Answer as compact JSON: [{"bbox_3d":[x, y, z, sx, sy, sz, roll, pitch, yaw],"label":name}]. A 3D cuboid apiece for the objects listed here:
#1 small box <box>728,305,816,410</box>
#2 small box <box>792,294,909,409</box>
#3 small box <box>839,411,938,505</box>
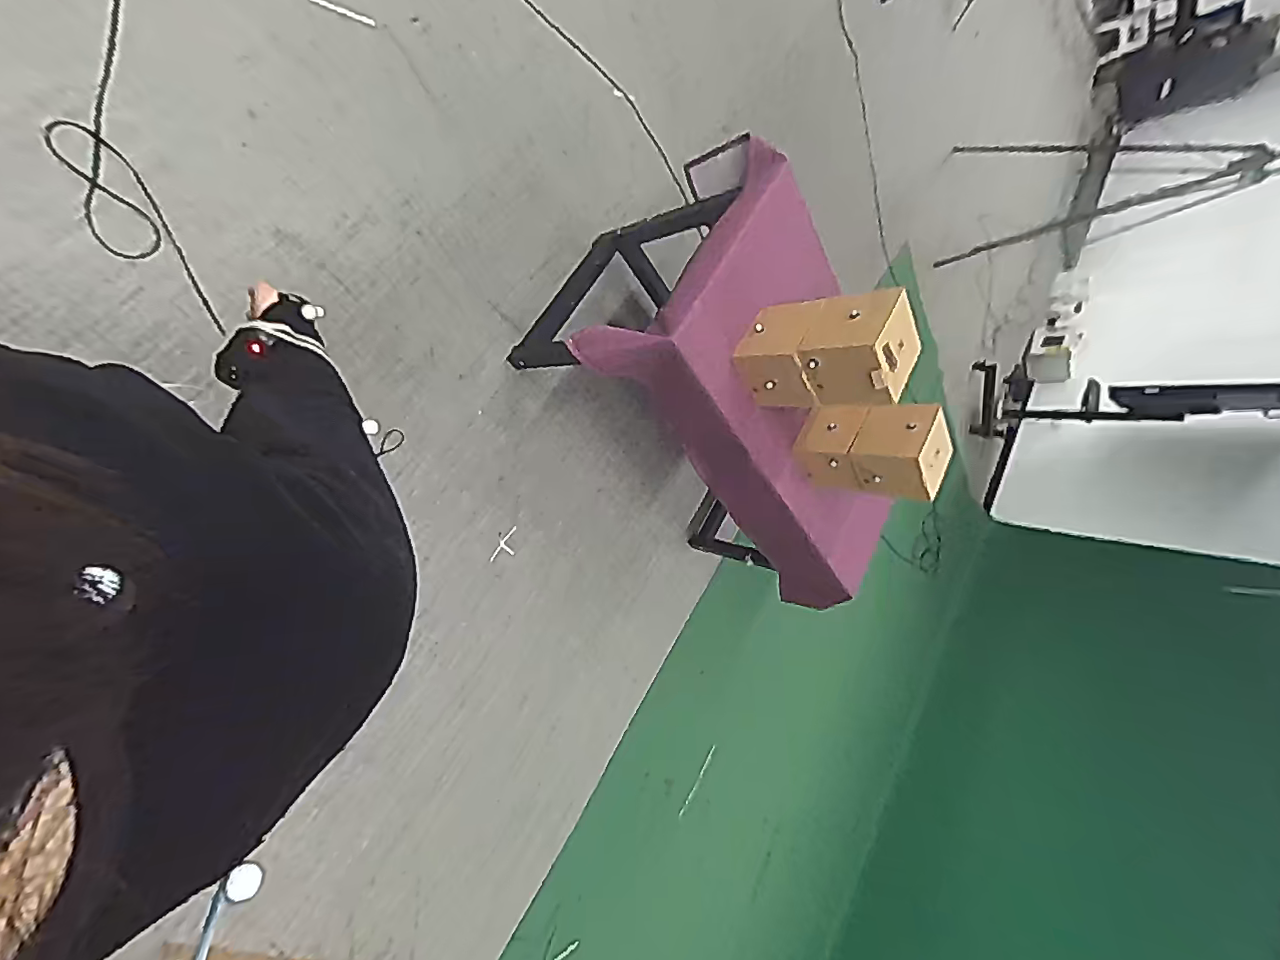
[{"bbox_3d":[0.328,-0.285,1.274,0.179,0.176,0.168,-56,131,-21],"label":"small box"},{"bbox_3d":[0.448,-0.269,1.161,0.179,0.176,0.168,-57,131,-22],"label":"small box"},{"bbox_3d":[0.632,-0.064,1.377,0.179,0.176,0.168,-55,129,-22],"label":"small box"}]
